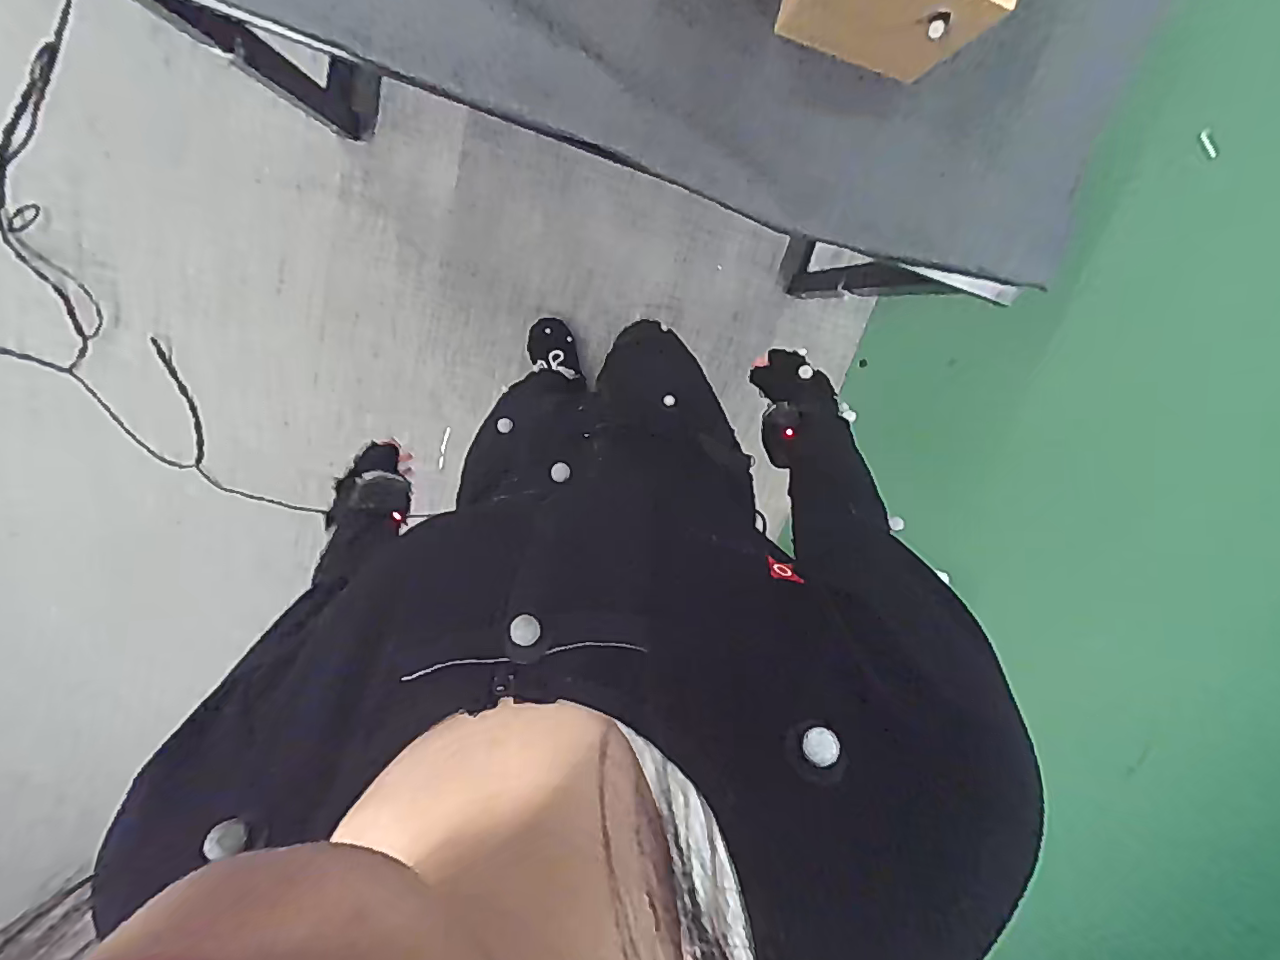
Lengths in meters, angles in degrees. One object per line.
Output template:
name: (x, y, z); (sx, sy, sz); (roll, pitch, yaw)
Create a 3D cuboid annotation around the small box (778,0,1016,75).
small box: (0.262, -0.533, 0.522); (0.179, 0.176, 0.168); (13, 105, -9)
